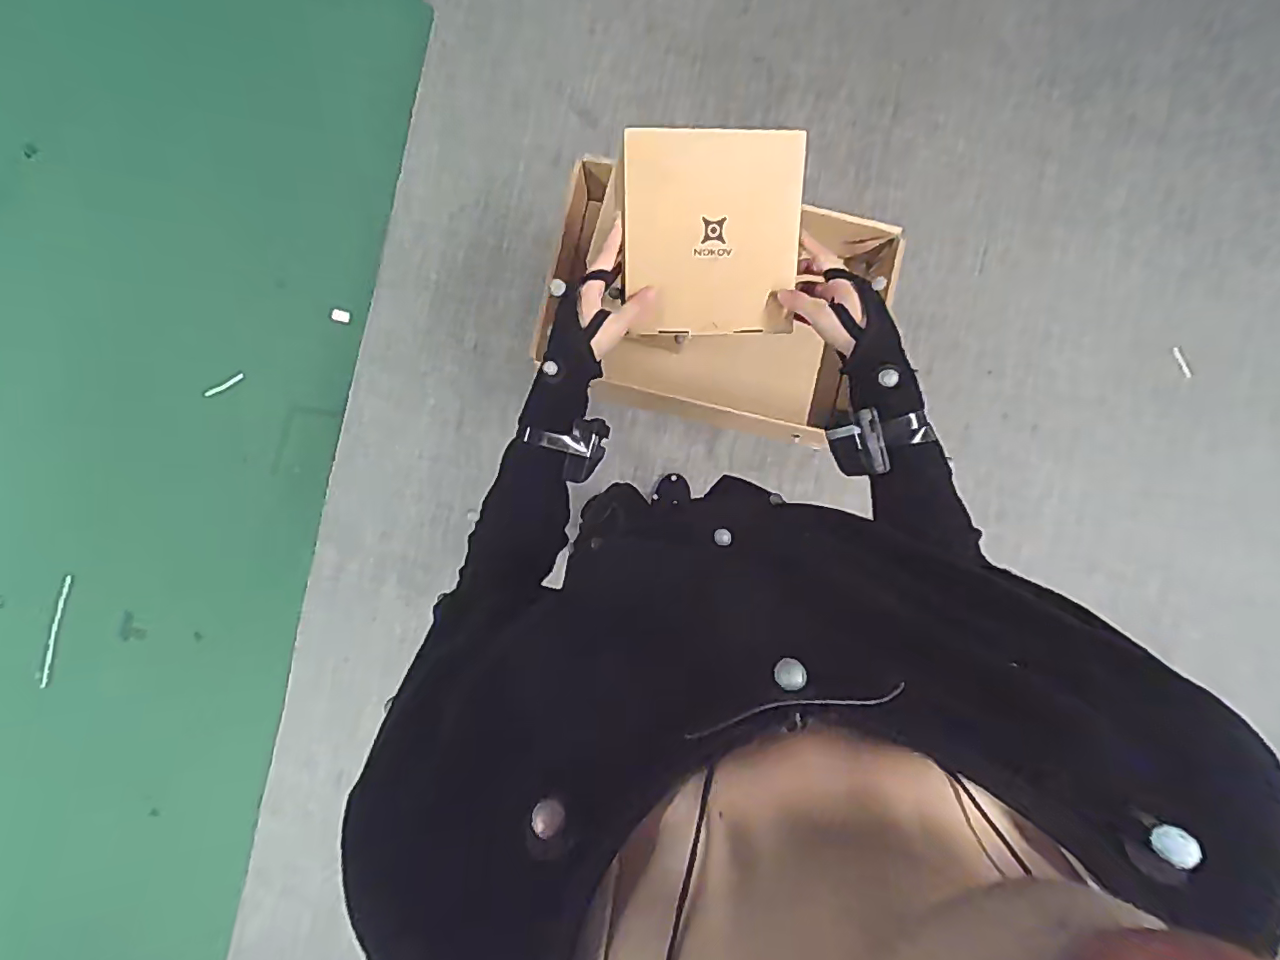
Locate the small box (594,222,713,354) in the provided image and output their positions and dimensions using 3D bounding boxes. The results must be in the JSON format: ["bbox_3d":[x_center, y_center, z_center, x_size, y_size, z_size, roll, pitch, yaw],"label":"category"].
[{"bbox_3d":[0.024,-0.349,1.018,0.179,0.176,0.168,14,89,1],"label":"small box"}]

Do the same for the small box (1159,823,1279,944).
[{"bbox_3d":[1.364,0.937,1.251,0.168,0.176,0.179,11,88,1],"label":"small box"}]
